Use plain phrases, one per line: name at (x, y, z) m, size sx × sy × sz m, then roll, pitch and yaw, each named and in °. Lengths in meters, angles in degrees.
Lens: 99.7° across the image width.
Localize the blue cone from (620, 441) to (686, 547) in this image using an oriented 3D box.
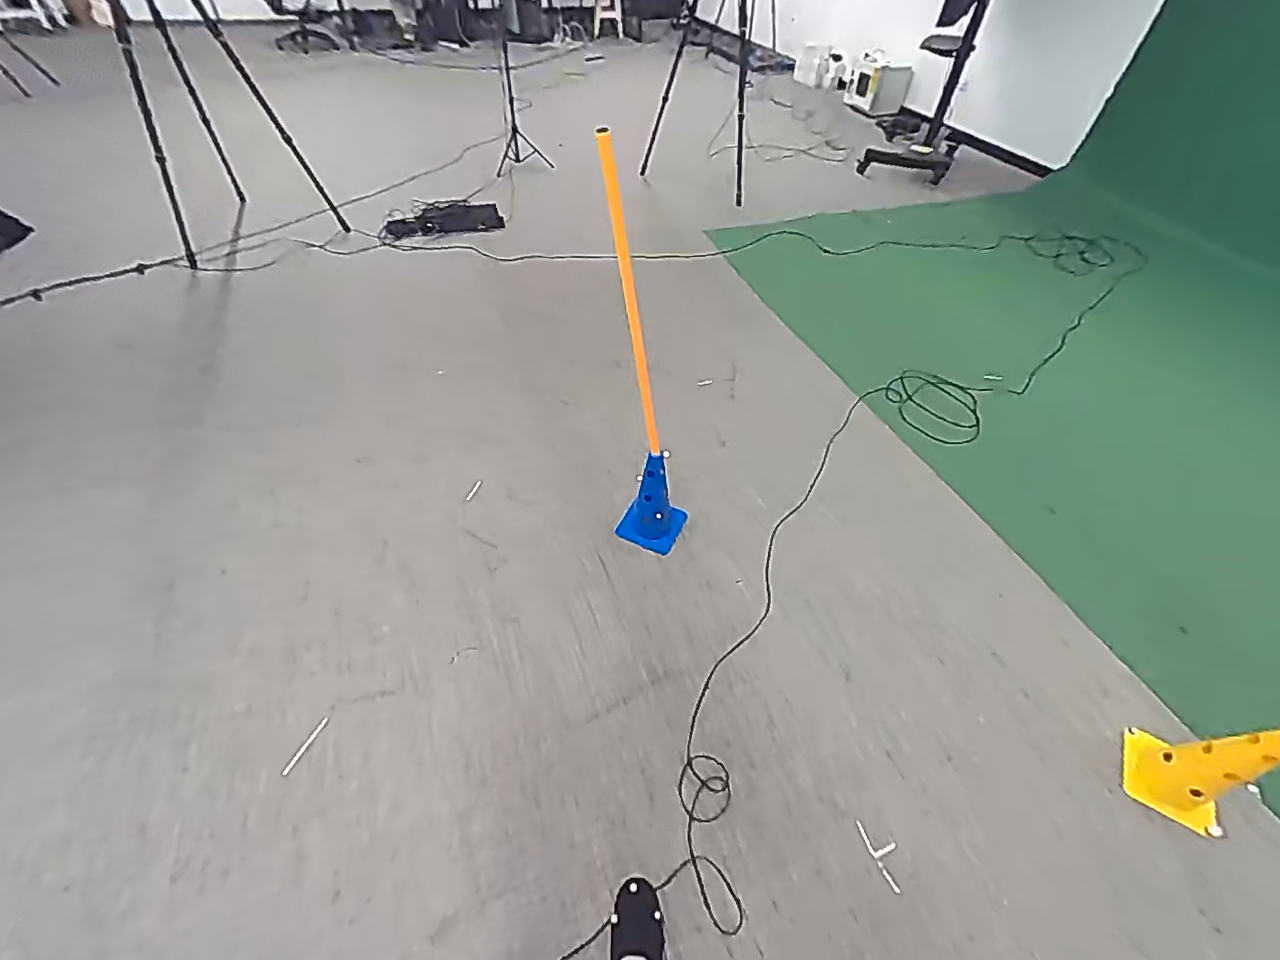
blue cone at (0.043, 0.028, 1.706) m, size 0.193 × 0.380 × 0.192 m, roll 19°, pitch 52°, yaw 16°
